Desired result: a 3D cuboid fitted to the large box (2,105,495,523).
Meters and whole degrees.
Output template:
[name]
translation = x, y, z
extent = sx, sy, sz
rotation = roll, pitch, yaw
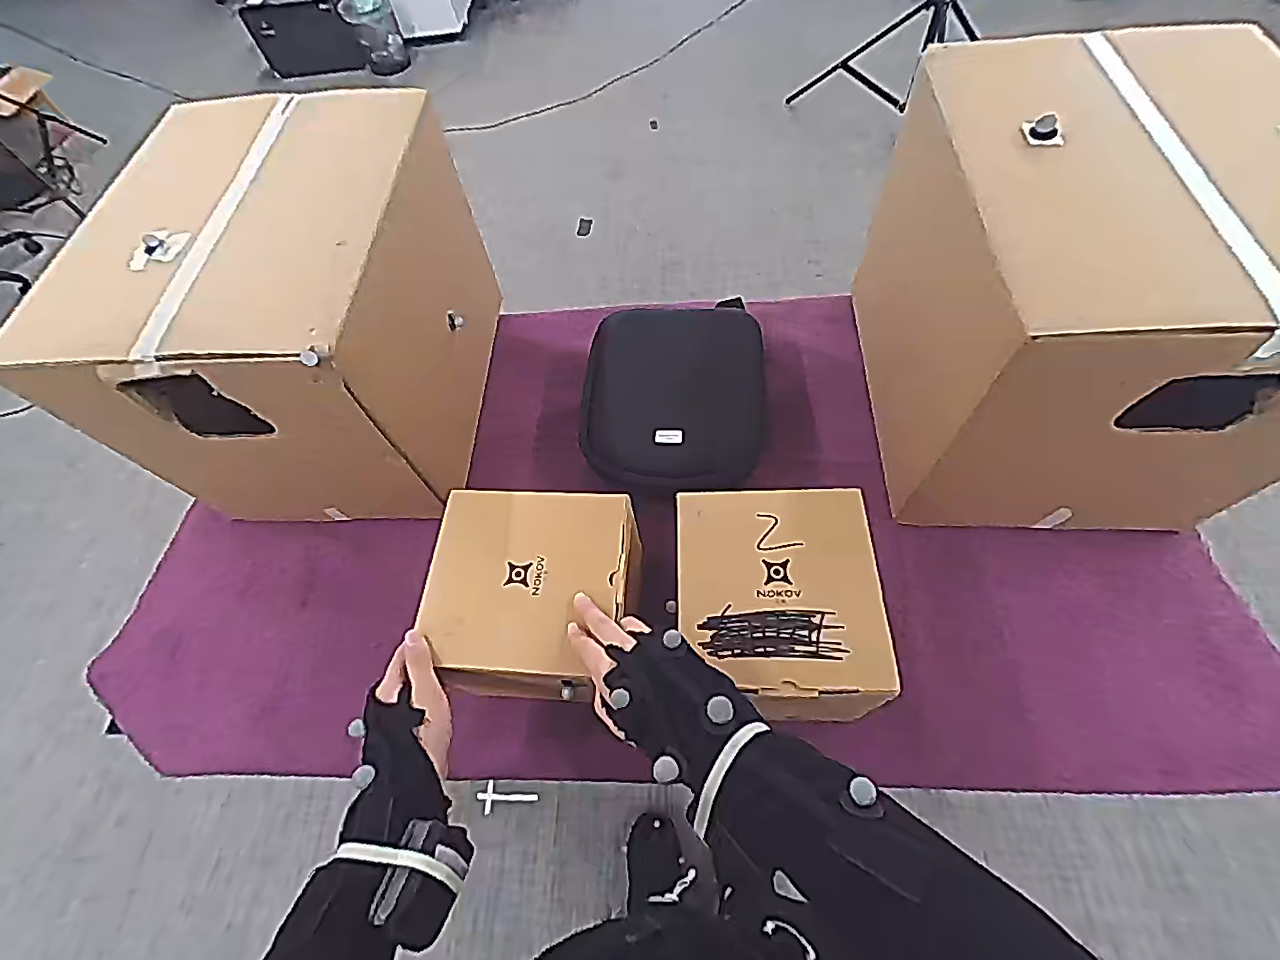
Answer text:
[large box]
translation = -0.390, -0.189, 0.676
extent = 0.320, 0.320, 0.408
rotation = -2, 62, 4
